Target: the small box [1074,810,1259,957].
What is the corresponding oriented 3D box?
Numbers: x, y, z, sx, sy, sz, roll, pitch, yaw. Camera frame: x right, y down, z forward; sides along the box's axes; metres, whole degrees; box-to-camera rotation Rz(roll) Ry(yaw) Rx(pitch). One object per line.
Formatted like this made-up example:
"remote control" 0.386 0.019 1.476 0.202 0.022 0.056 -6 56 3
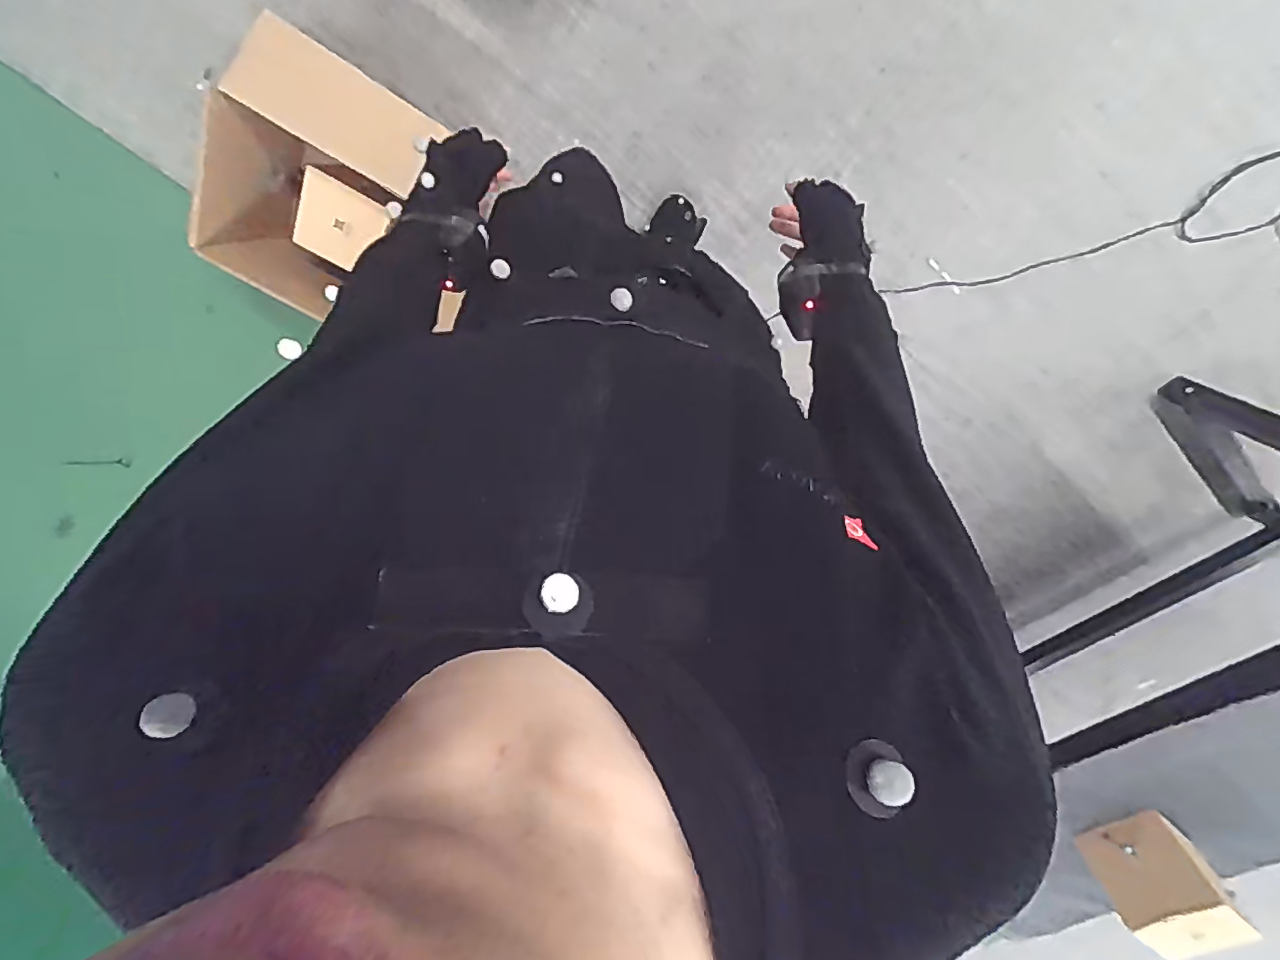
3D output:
"small box" 1.022 0.789 1.065 0.179 0.176 0.168 39 115 -17
